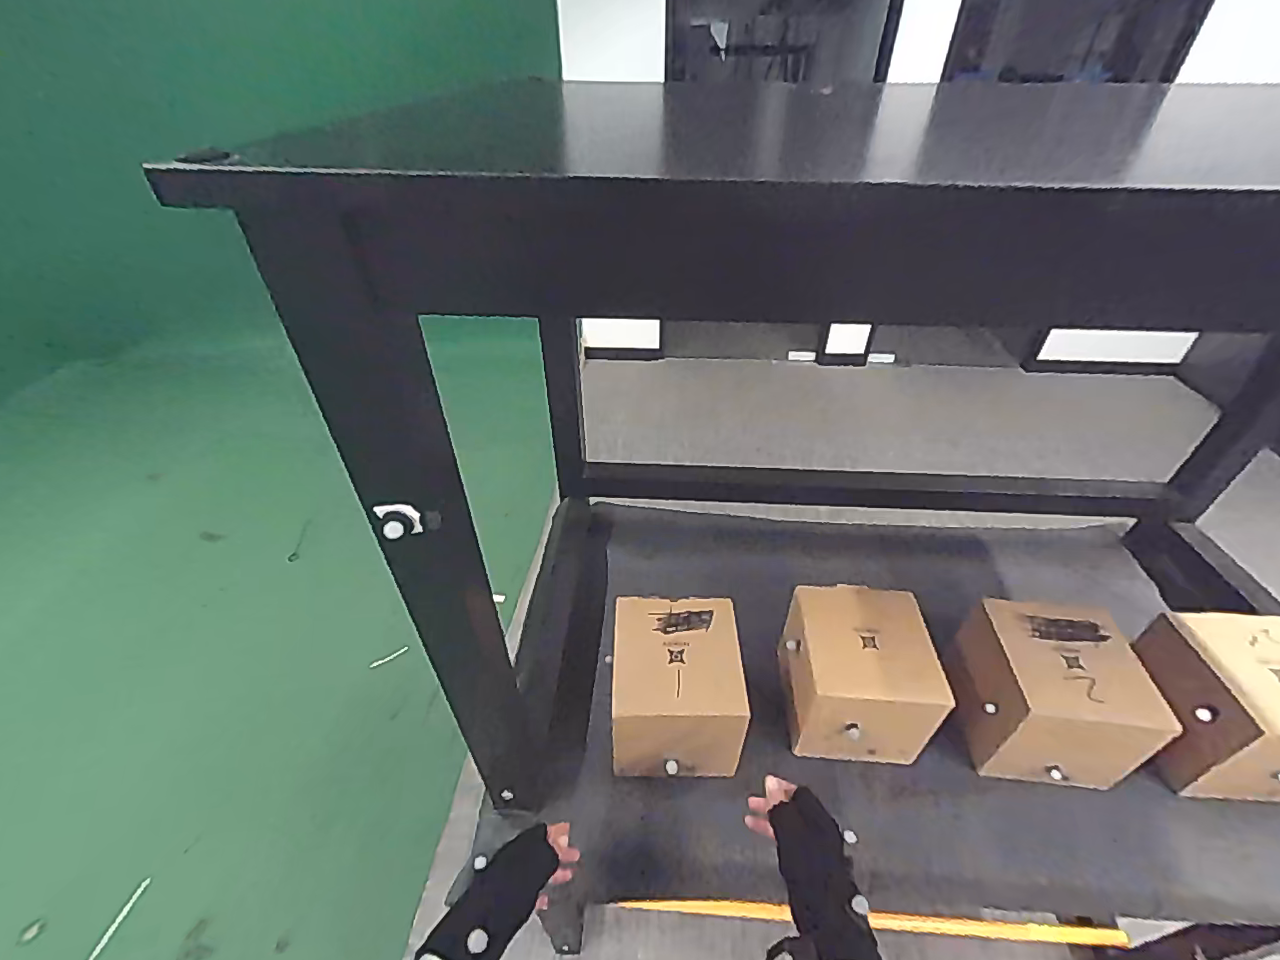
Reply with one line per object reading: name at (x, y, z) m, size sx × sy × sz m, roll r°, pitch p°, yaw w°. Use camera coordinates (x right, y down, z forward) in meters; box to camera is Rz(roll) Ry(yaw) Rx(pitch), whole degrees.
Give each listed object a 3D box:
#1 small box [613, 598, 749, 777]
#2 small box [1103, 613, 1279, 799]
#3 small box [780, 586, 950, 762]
small box at (0.049, 0.287, 0.754) m, size 0.168 × 0.176 × 0.179 m, roll 0°, pitch 40°, yaw 0°
small box at (0.793, 0.304, 0.727) m, size 0.168 × 0.176 × 0.179 m, roll 2°, pitch 38°, yaw 3°
small box at (0.302, 0.276, 0.770) m, size 0.168 × 0.176 × 0.179 m, roll 3°, pitch 38°, yaw 3°
